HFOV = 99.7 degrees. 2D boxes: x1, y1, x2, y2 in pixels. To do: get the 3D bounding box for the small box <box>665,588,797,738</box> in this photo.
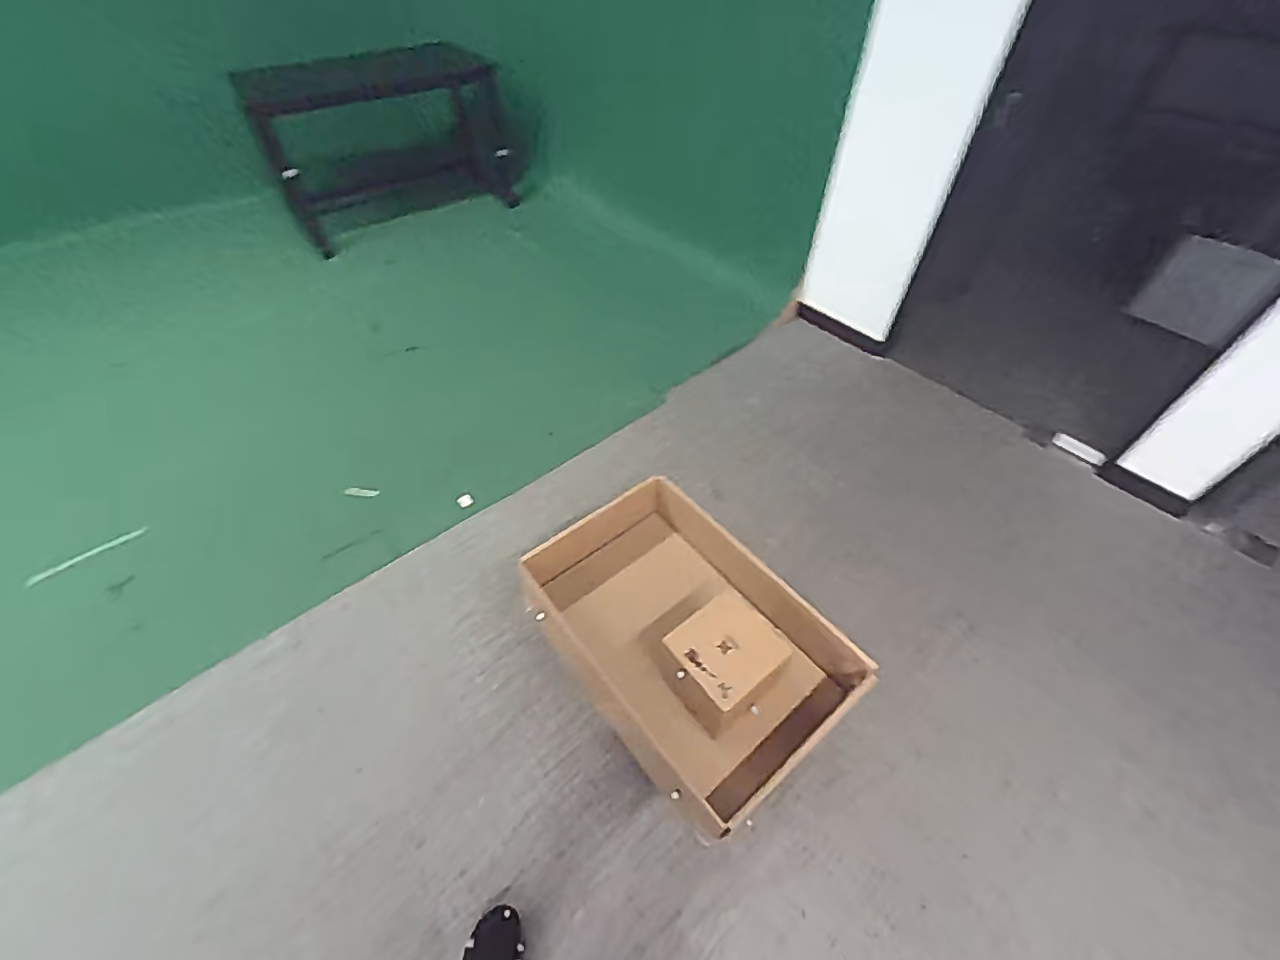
[{"bbox_3d":[0.160,0.343,1.015,0.179,0.176,0.168,-30,54,-24],"label":"small box"}]
